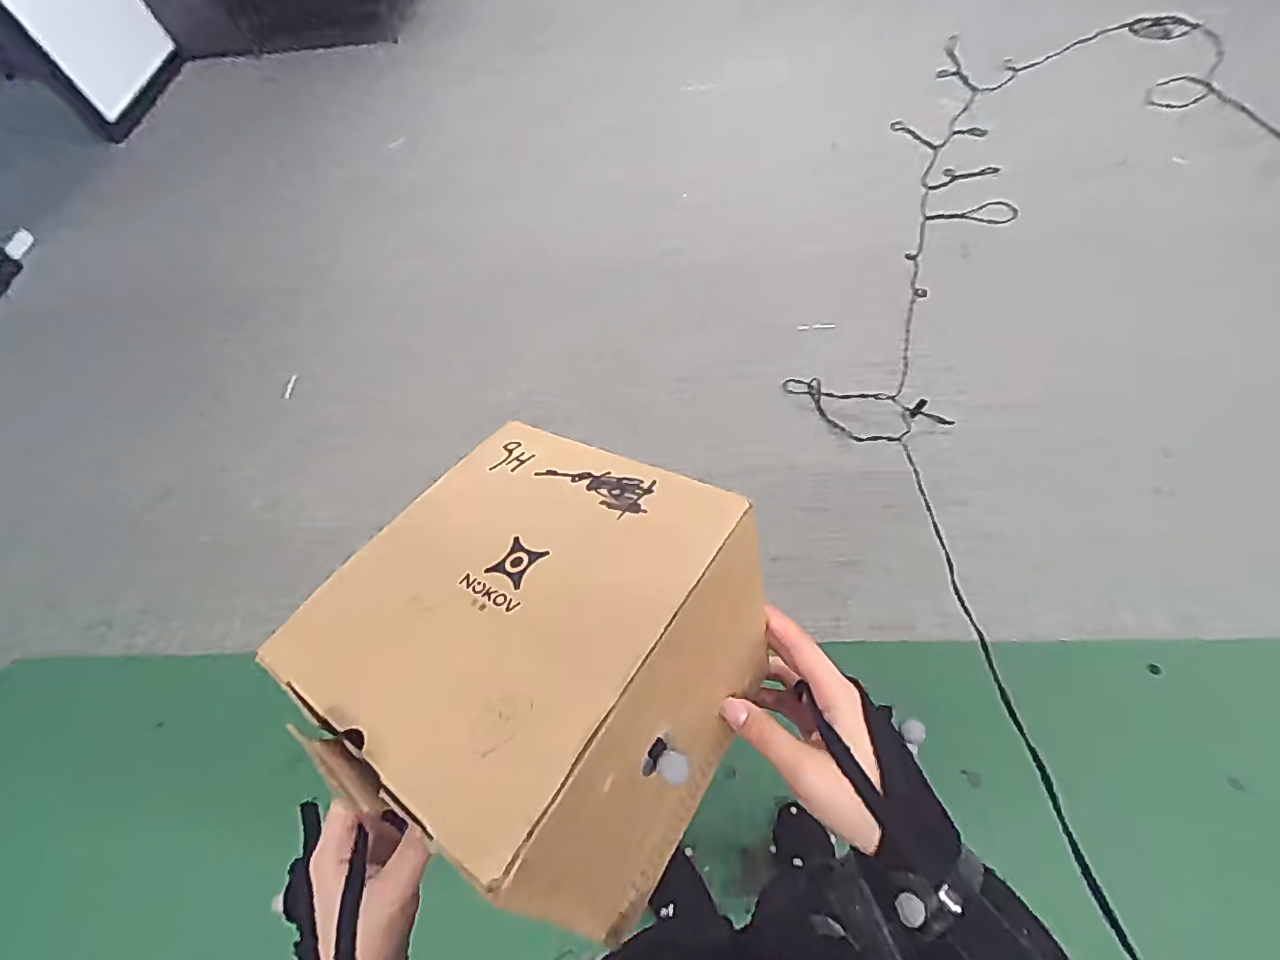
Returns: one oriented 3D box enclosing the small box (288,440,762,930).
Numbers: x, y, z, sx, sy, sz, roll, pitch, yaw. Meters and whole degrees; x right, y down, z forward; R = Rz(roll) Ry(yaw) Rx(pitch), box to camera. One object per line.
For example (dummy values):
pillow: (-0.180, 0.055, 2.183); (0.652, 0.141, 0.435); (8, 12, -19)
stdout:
small box: (-0.039, 0.110, 0.310); (0.168, 0.176, 0.179); (20, 55, 31)
